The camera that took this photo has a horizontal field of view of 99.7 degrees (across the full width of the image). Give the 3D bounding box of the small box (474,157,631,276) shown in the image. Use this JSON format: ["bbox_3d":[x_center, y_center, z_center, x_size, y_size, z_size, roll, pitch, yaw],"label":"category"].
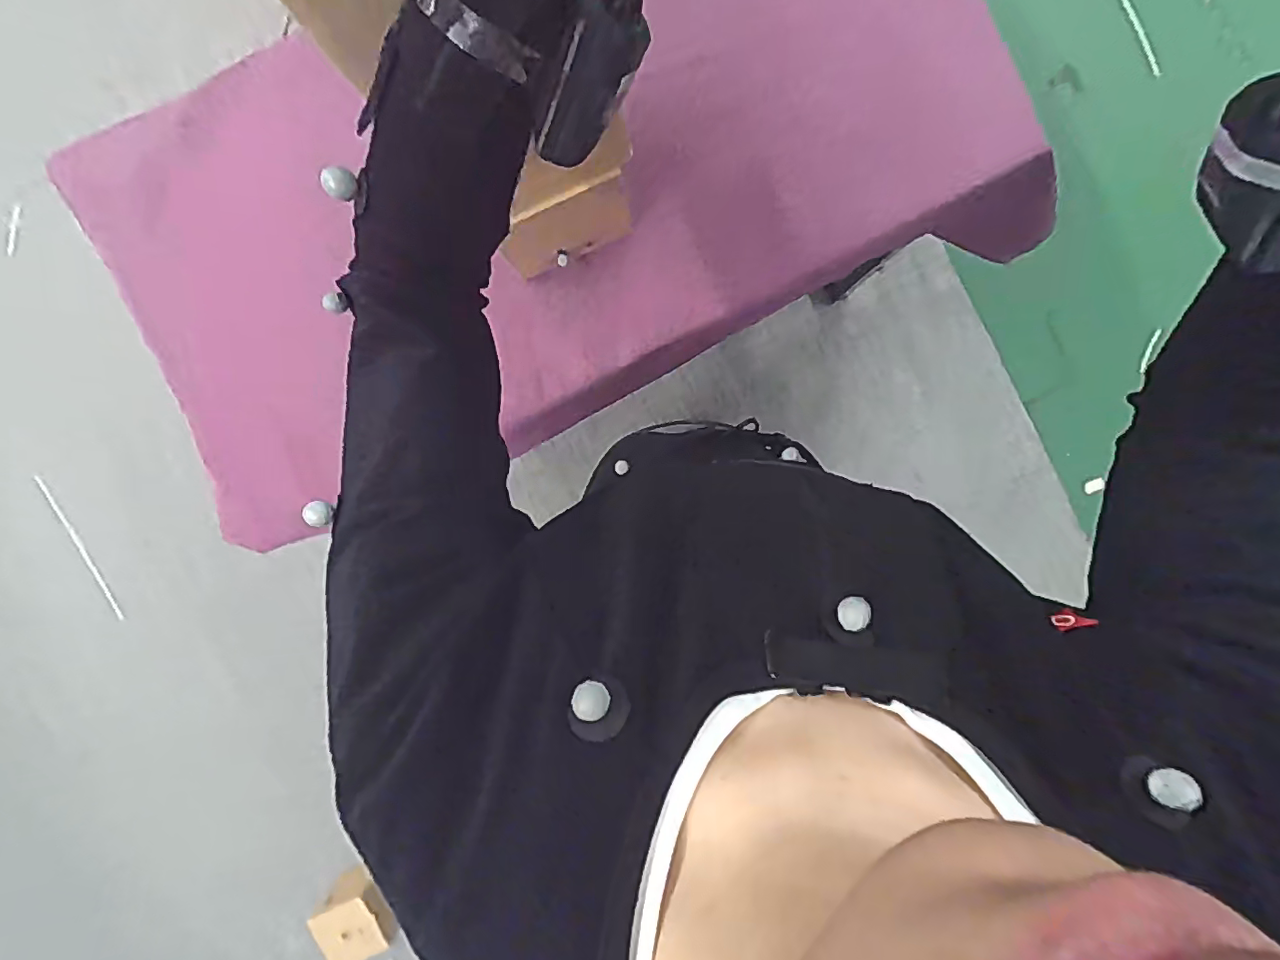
[{"bbox_3d":[-0.120,-0.378,0.649,0.168,0.176,0.179,-22,93,5],"label":"small box"}]

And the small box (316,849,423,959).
[{"bbox_3d":[-0.748,1.195,1.516,0.179,0.176,0.168,-28,92,4],"label":"small box"}]

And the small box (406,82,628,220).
[{"bbox_3d":[-0.124,-0.371,0.488,0.179,0.176,0.168,-24,92,5],"label":"small box"}]

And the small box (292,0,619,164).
[{"bbox_3d":[-0.123,-0.340,0.325,0.168,0.176,0.179,-21,91,5],"label":"small box"}]
